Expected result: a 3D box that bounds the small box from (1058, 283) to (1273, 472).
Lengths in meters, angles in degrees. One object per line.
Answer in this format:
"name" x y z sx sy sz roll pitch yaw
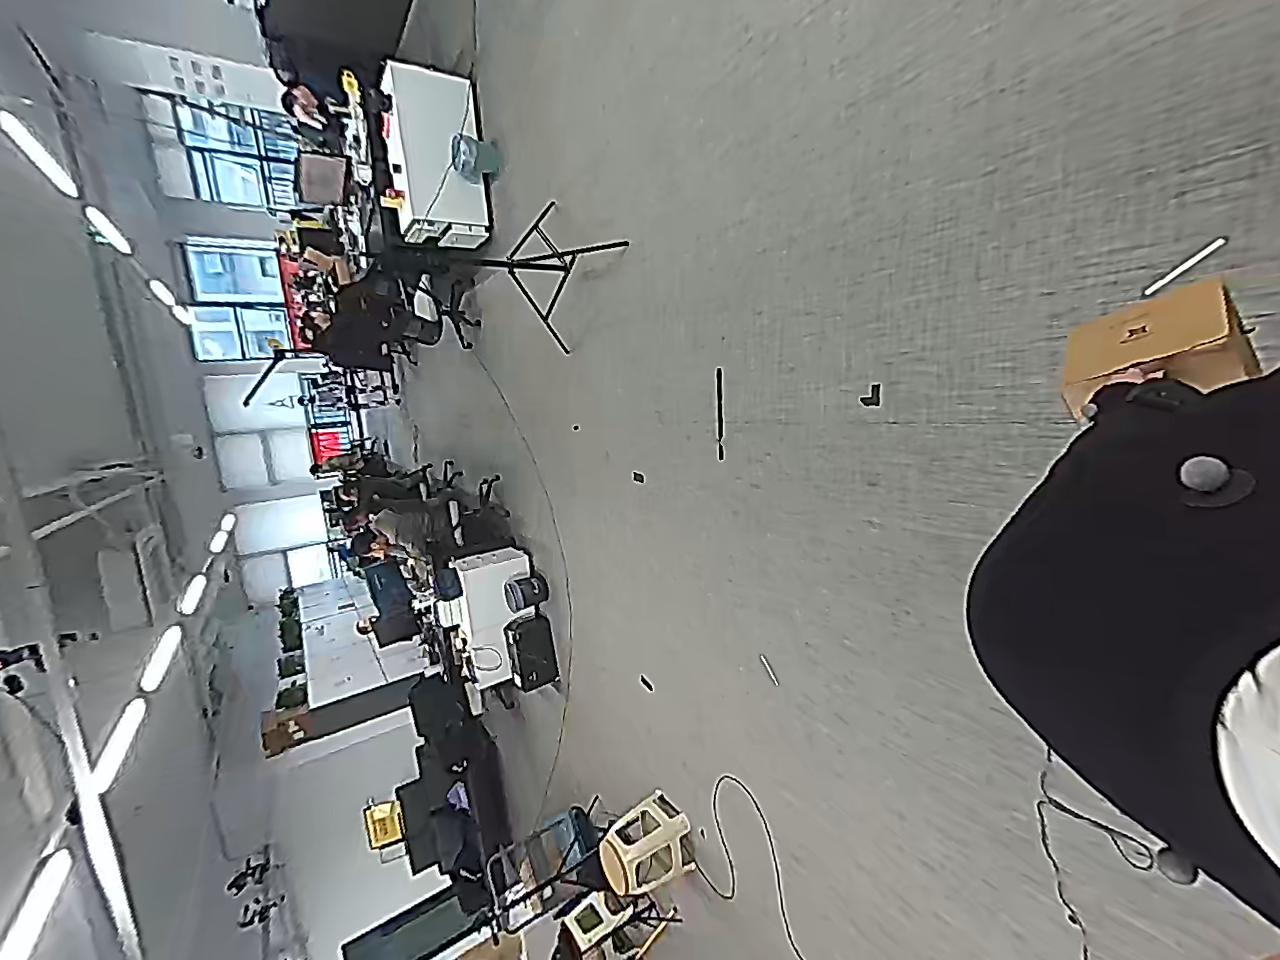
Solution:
"small box" 0.711 -0.127 0.738 0.176 0.179 0.168 52 144 -13
